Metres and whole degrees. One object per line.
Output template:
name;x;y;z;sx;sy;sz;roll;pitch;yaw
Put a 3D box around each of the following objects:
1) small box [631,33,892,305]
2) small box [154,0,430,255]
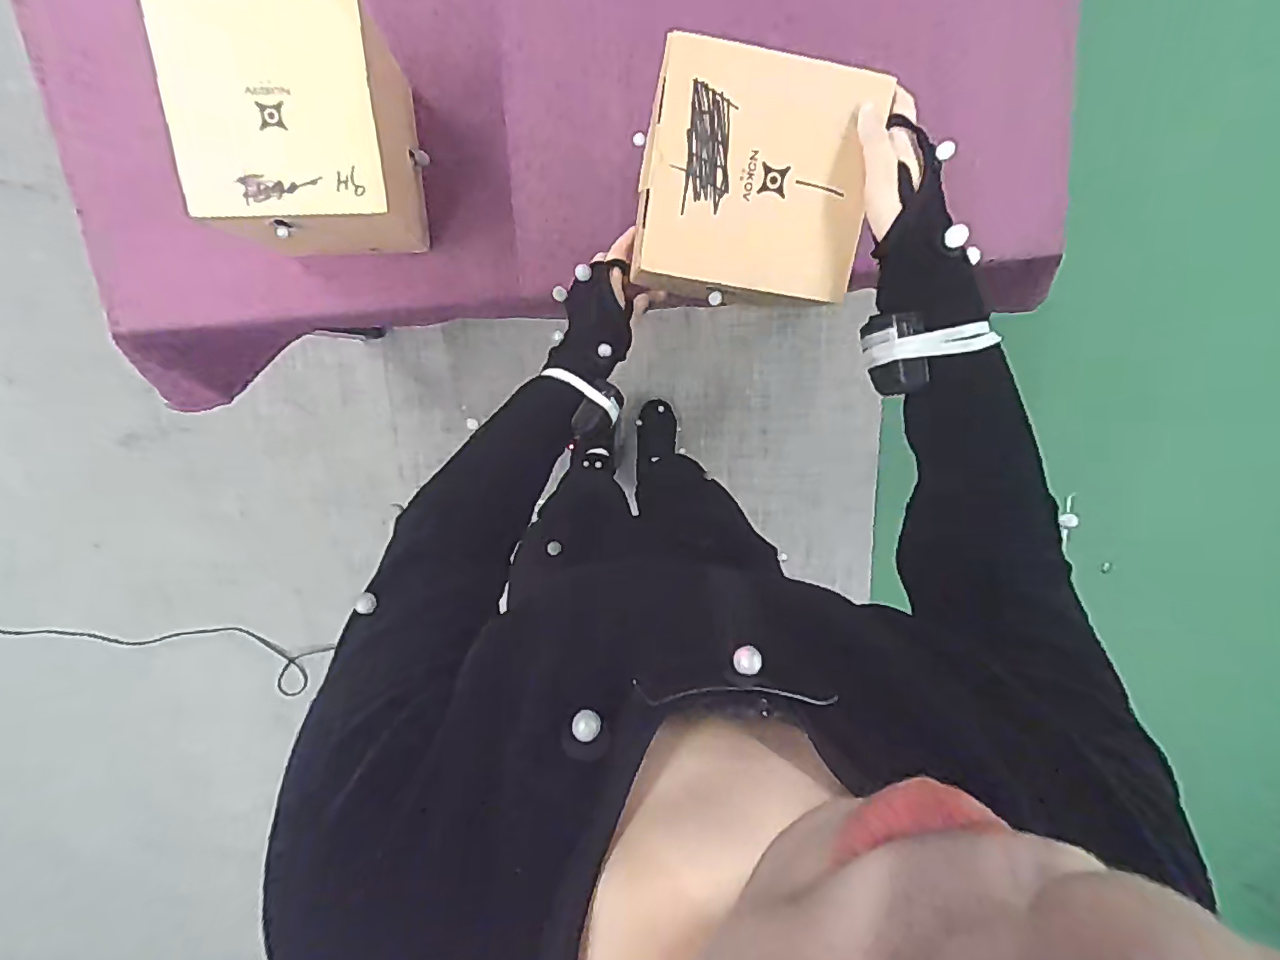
small box;0.089;-0.259;0.497;0.179;0.176;0.168;7;105;-6
small box;-0.320;-0.335;0.537;0.168;0.176;0.179;-4;102;-6
